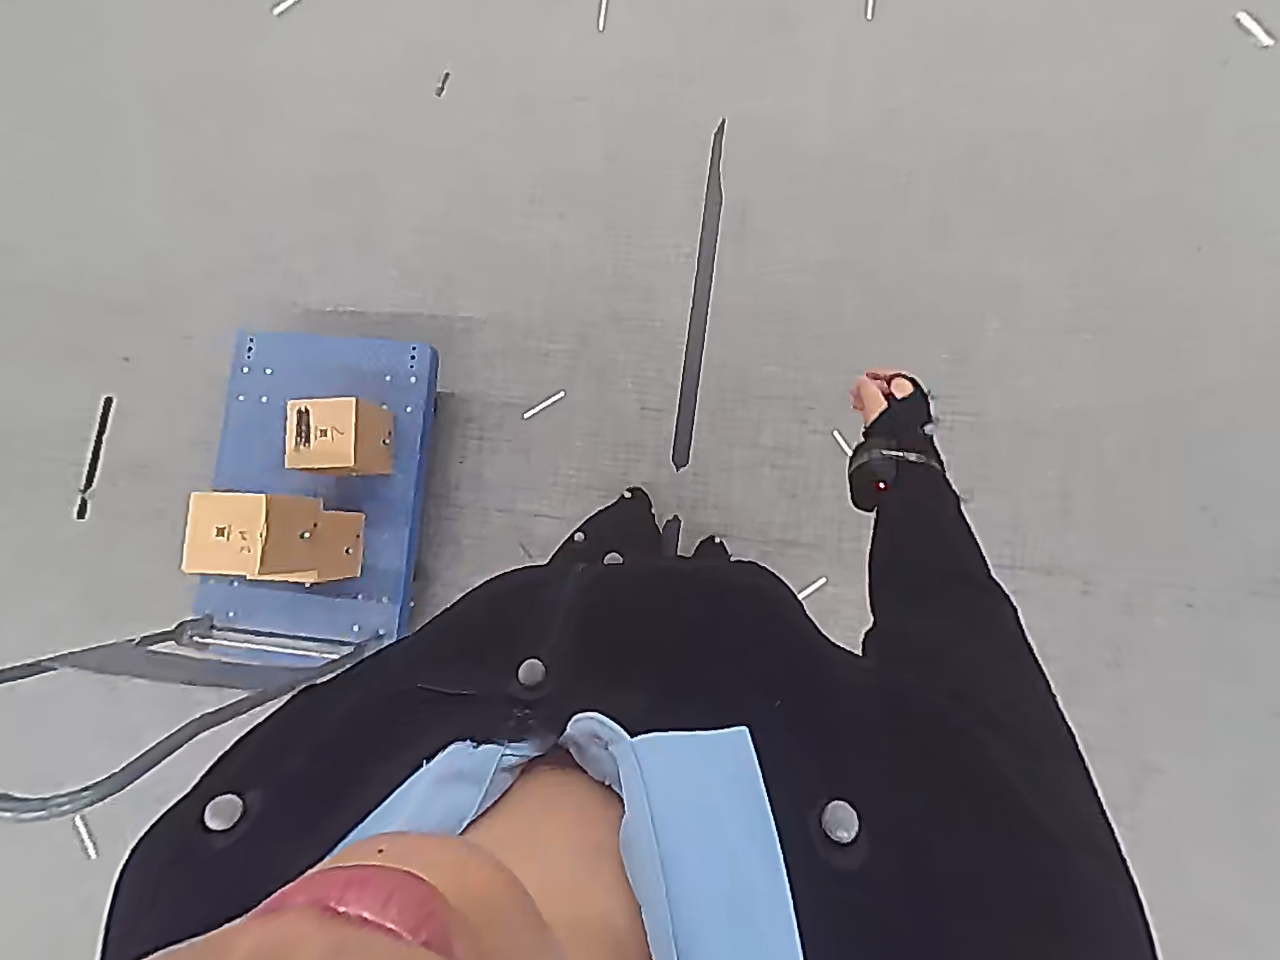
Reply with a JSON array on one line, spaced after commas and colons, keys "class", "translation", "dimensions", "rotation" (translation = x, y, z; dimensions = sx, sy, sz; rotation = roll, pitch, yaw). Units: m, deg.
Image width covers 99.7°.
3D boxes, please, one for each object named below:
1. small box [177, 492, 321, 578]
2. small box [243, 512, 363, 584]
[{"class": "small box", "translation": [-0.829, 0.118, 1.159], "dimensions": [0.179, 0.176, 0.168], "rotation": [2, 84, 5]}, {"class": "small box", "translation": [-0.815, 0.162, 1.320], "dimensions": [0.179, 0.176, 0.168], "rotation": [1, 84, 5]}]
